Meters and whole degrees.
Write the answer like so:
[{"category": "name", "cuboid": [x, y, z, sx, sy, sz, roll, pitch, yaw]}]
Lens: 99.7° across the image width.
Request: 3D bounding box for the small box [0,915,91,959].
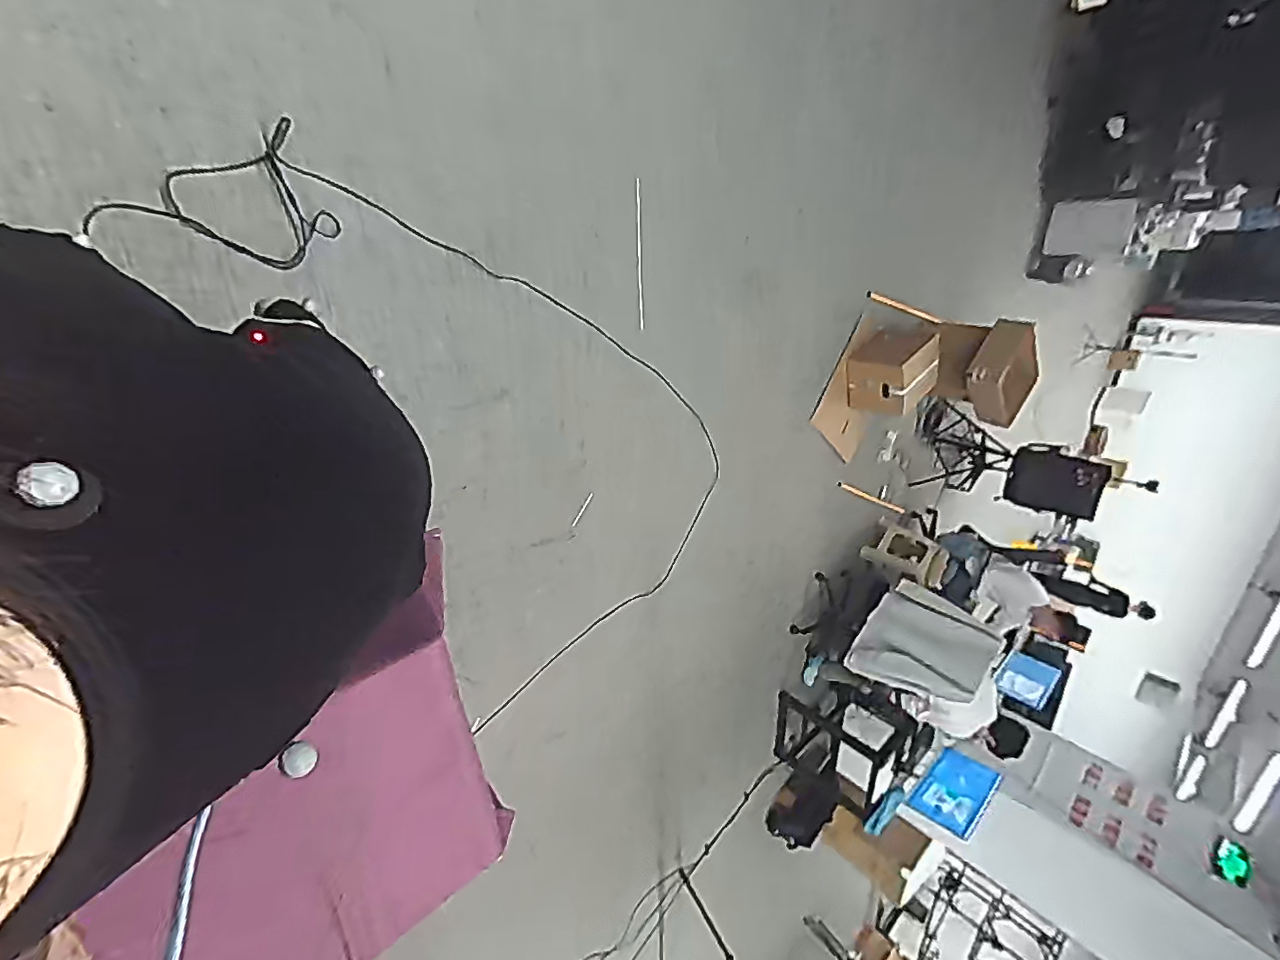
[{"category": "small box", "cuboid": [-0.706, 0.634, 0.578, 0.179, 0.176, 0.168, -20, 119, -39]}]
